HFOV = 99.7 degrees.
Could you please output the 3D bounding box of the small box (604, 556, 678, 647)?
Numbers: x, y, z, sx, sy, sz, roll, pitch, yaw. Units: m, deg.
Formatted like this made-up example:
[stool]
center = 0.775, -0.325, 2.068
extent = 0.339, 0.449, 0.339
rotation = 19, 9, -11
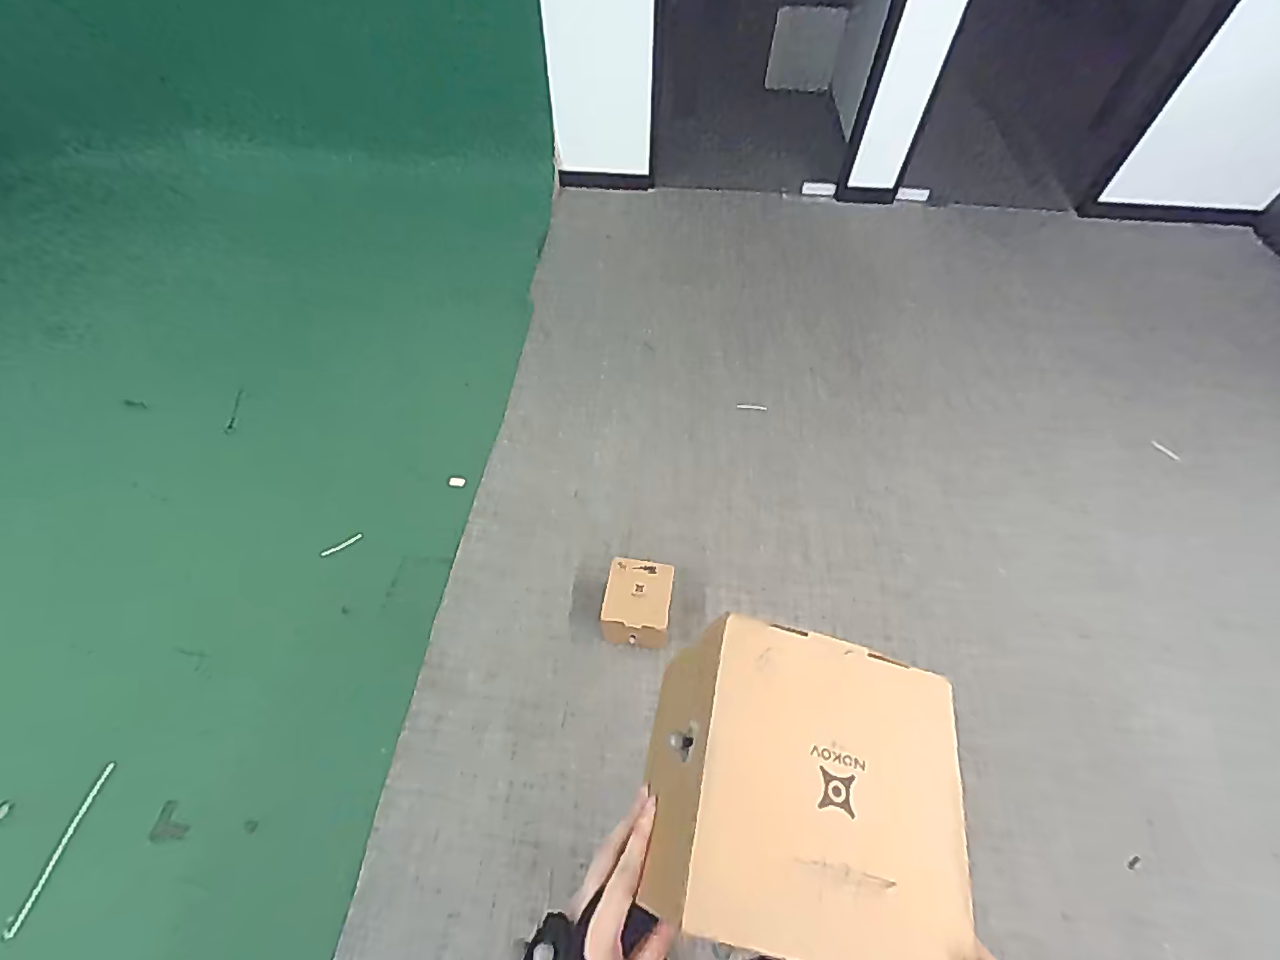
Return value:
[small box]
center = 0.006, 0.324, 1.421
extent = 0.168, 0.176, 0.179
rotation = 8, 57, 5
